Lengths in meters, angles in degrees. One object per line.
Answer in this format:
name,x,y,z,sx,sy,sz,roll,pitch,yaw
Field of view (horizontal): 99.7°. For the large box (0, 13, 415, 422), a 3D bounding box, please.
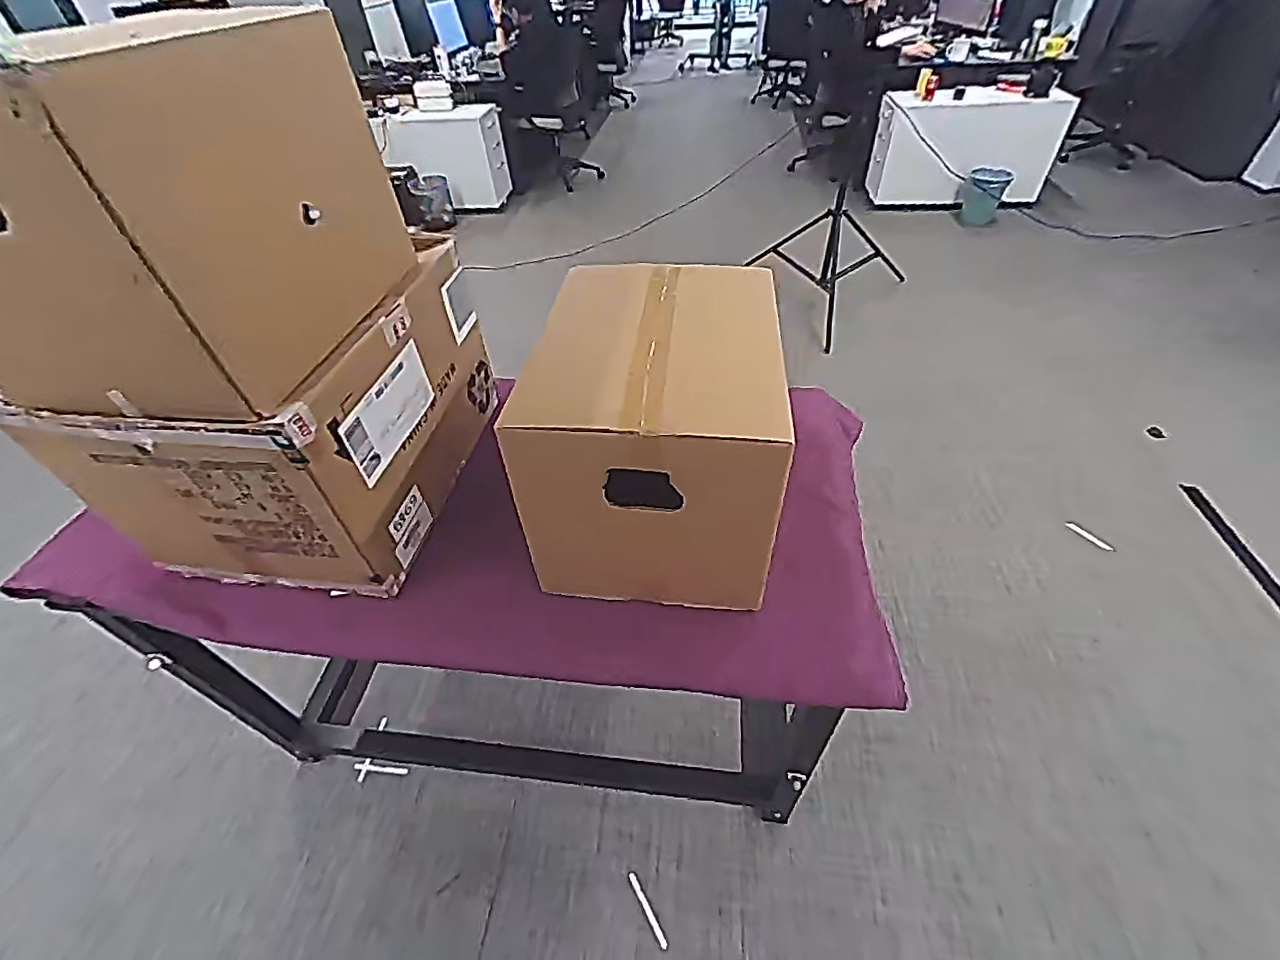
large box,-0.525,-0.313,0.629,0.320,0.320,0.408,1,46,7
